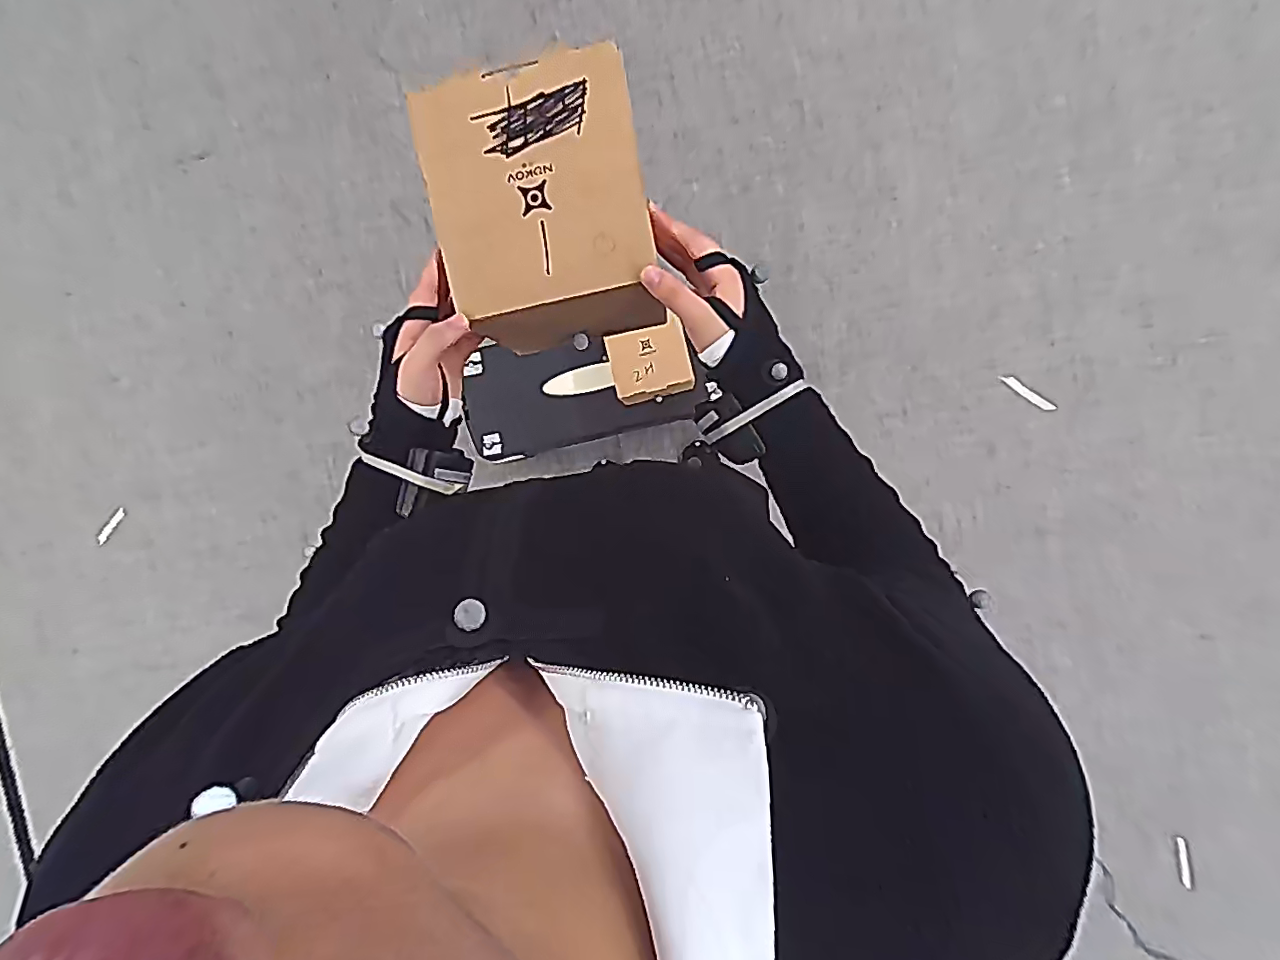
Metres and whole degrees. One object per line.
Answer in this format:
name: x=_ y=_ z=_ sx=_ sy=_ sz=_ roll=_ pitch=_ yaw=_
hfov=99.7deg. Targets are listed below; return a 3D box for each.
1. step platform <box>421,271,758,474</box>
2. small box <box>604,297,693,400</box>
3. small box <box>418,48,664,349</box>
step platform: x=-0.104 y=-0.217 z=1.183 sx=0.684 sy=0.204 sz=0.286 roll=-12 pitch=92 yaw=3
small box: x=0.018 y=-0.283 z=1.207 sx=0.168 sy=0.176 sz=0.179 roll=-13 pitch=92 yaw=5
small box: x=-0.073 y=-0.234 z=0.497 sx=0.168 sy=0.176 sz=0.179 roll=-10 pitch=94 yaw=5
